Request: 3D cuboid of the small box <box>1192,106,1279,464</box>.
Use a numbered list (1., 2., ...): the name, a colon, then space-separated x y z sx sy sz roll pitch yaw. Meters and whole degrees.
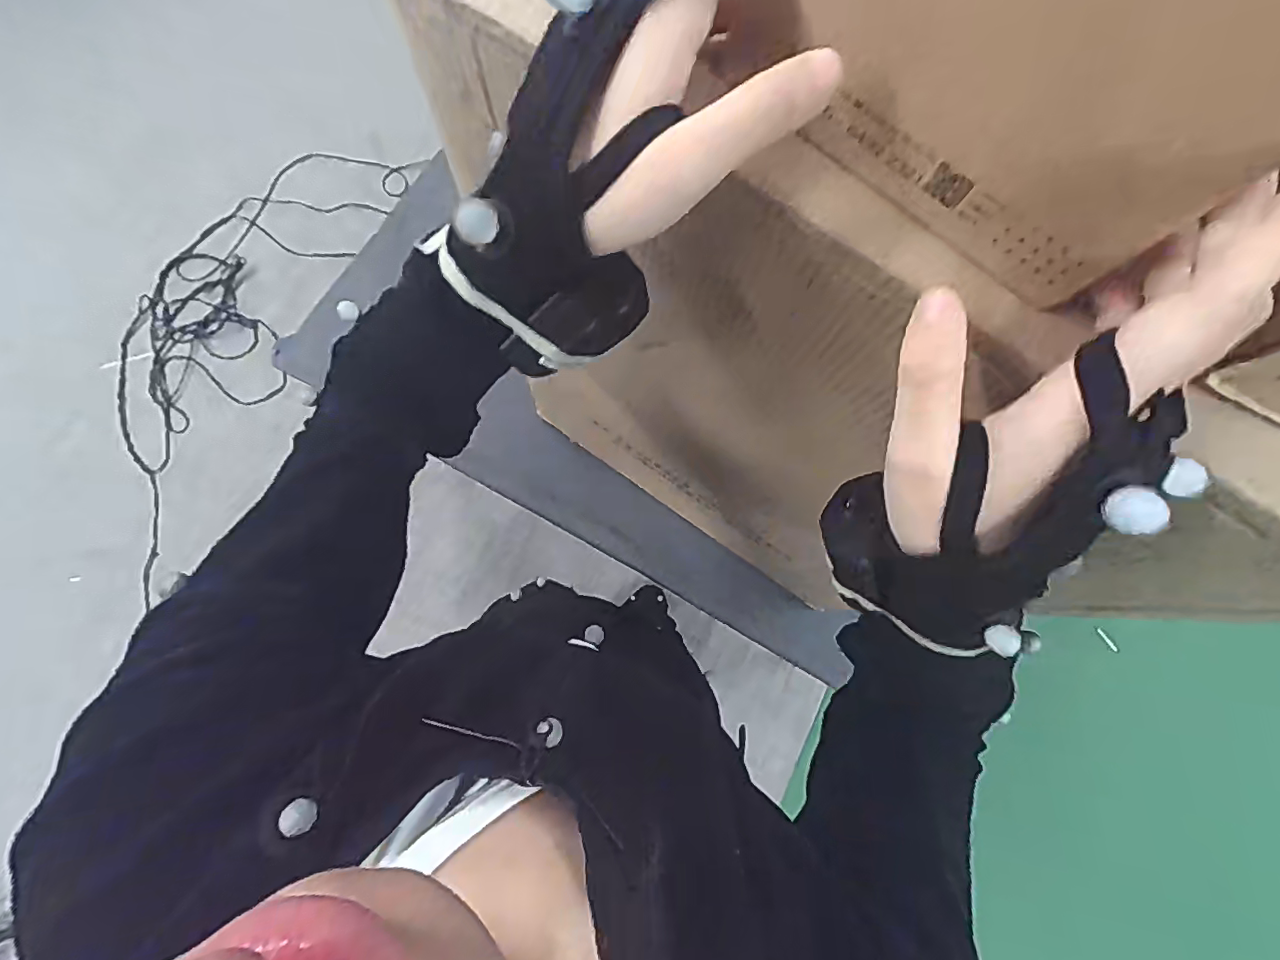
1. small box: 0.329 -0.081 0.155 0.168 0.176 0.179 27 80 -1
